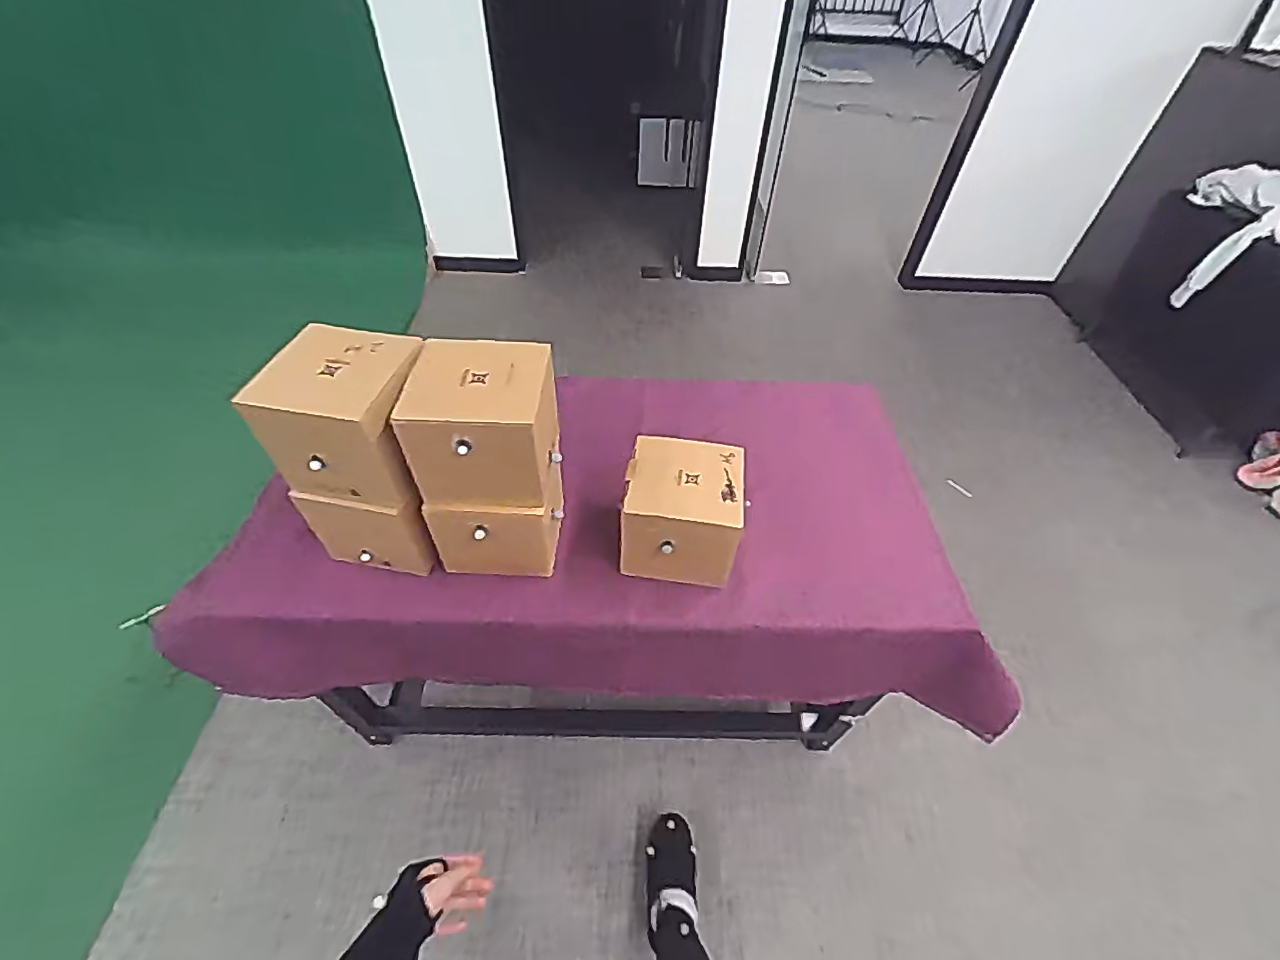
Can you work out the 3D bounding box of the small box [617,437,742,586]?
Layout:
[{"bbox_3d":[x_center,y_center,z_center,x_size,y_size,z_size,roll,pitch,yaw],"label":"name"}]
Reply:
[{"bbox_3d":[0.062,0.054,0.874,0.179,0.176,0.168,8,48,4],"label":"small box"}]
